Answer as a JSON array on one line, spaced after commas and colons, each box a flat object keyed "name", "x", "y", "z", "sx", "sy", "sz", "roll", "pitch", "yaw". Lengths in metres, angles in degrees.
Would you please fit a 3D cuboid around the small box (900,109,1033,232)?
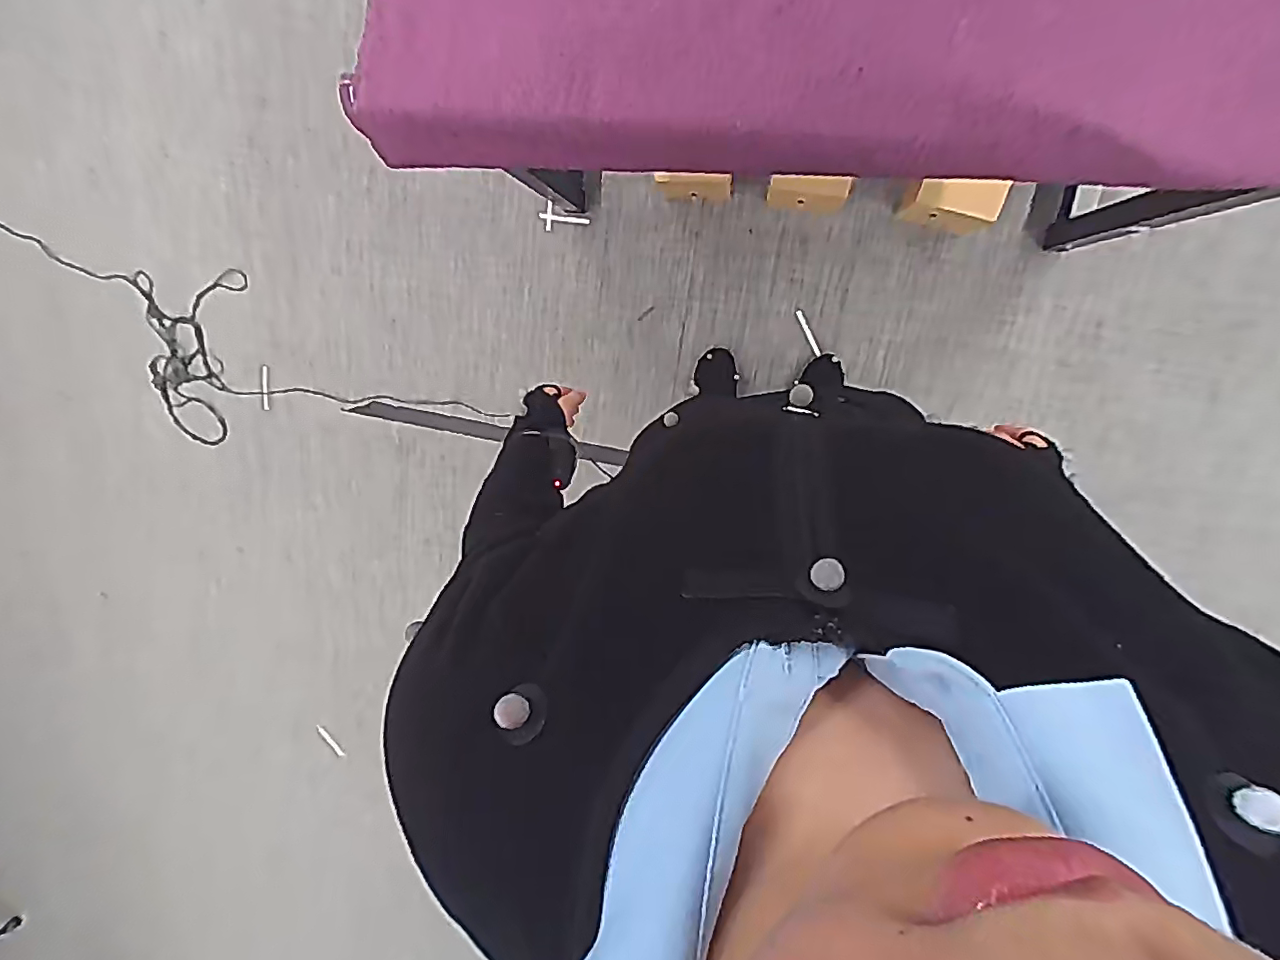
[{"name": "small box", "x": 0.685, "y": -0.653, "z": 1.164, "sx": 0.168, "sy": 0.176, "sz": 0.179, "roll": 18, "pitch": 107, "yaw": 6}]

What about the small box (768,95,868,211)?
[{"name": "small box", "x": 0.385, "y": -0.714, "z": 1.200, "sx": 0.168, "sy": 0.176, "sz": 0.179, "roll": 11, "pitch": 106, "yaw": 7}]
